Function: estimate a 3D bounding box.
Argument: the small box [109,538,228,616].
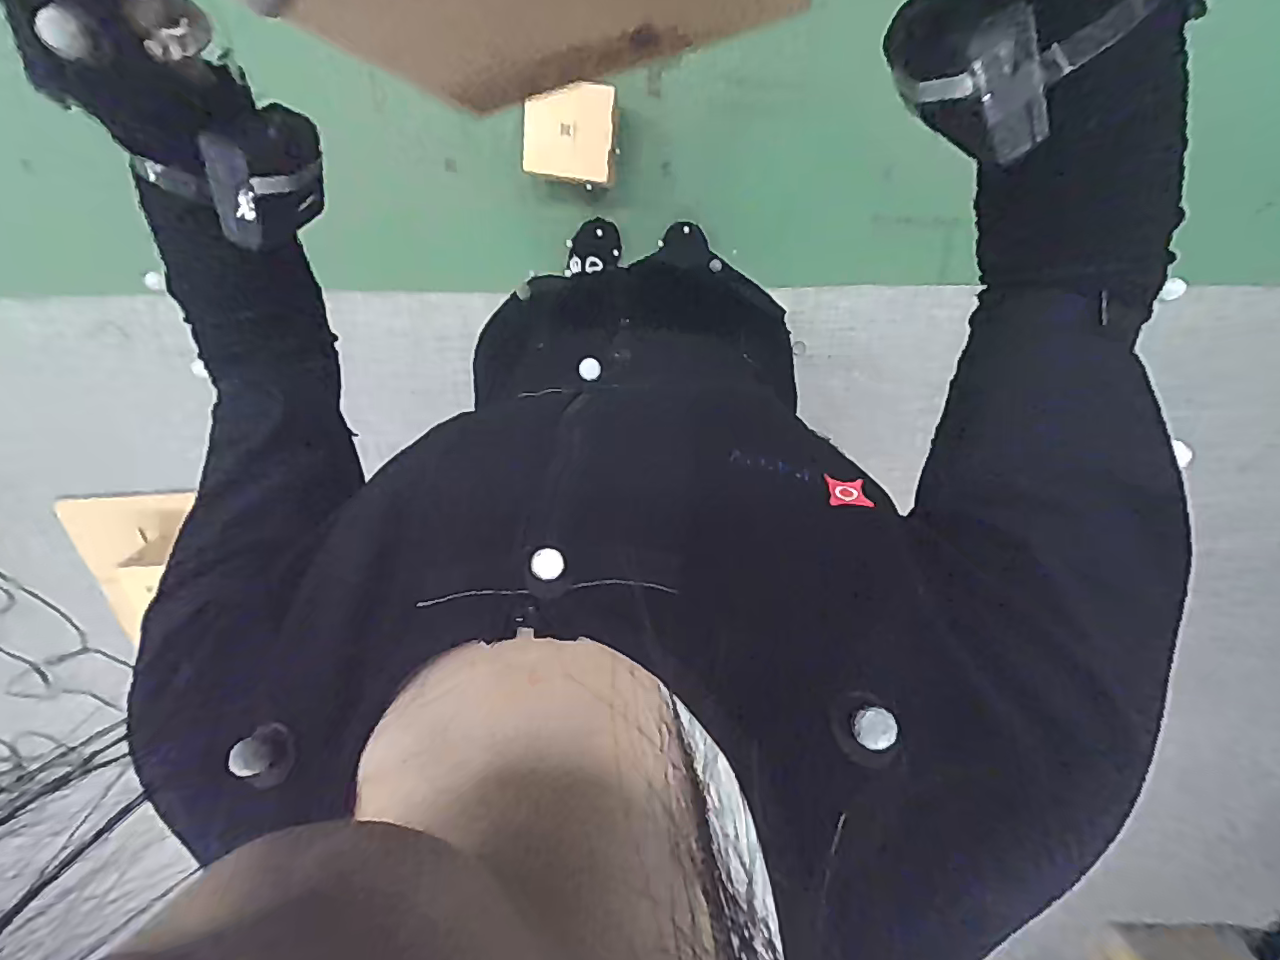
[{"bbox_3d":[-1.400,0.287,1.619,0.179,0.176,0.168,-3,116,2],"label":"small box"}]

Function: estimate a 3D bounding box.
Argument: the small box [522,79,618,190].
[{"bbox_3d":[-0.144,-0.720,1.146,0.179,0.176,0.168,7,115,-3],"label":"small box"}]
